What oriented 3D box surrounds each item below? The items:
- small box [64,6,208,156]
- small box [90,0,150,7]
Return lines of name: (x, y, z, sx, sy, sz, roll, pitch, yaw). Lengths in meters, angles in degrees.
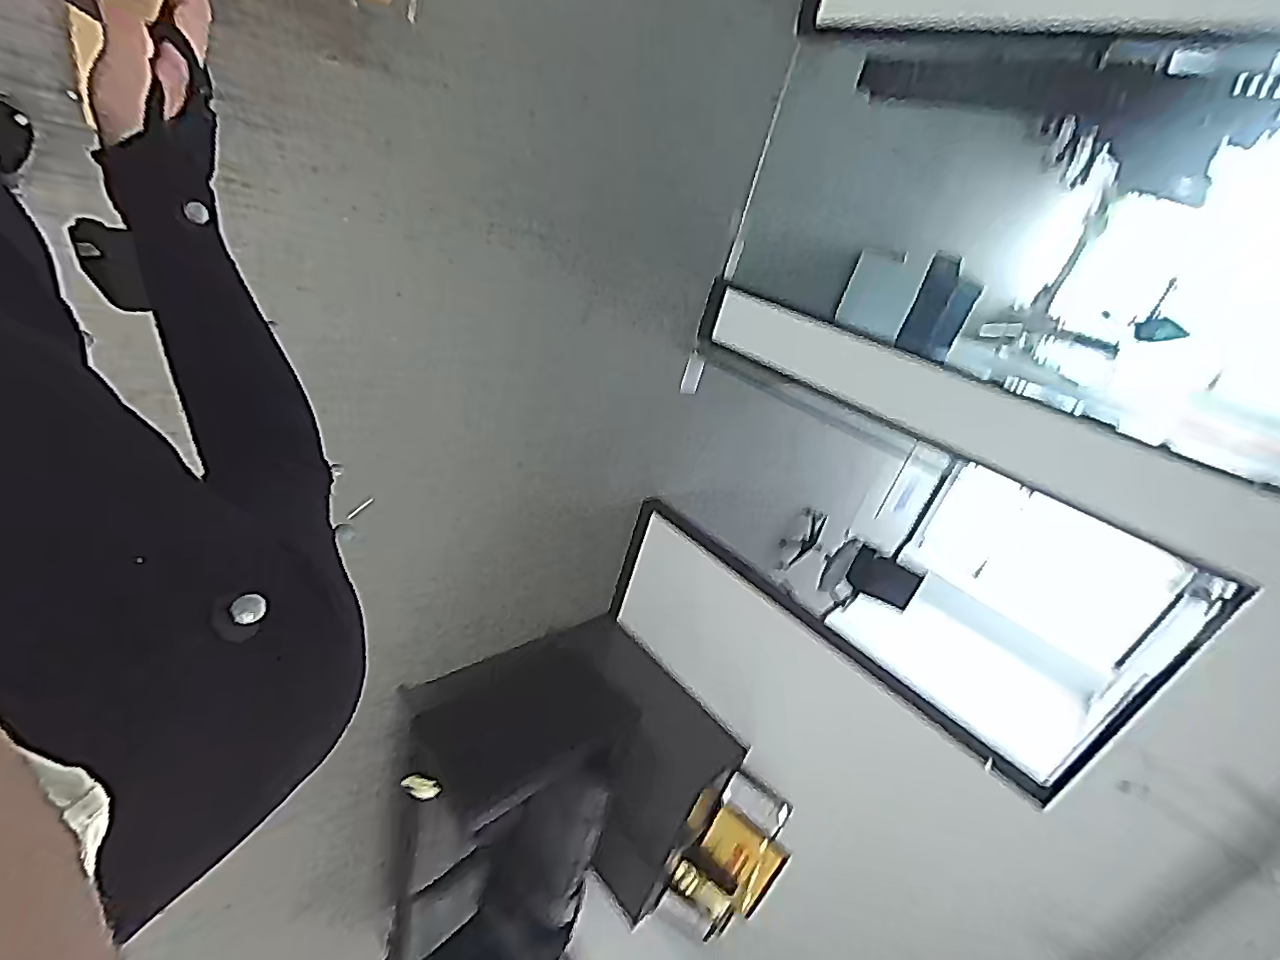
small box: (-0.916, -0.723, 0.988, 0.168, 0.176, 0.179, -12, 128, -45)
small box: (-0.403, -0.435, 0.325, 0.179, 0.176, 0.168, 15, 104, -59)
